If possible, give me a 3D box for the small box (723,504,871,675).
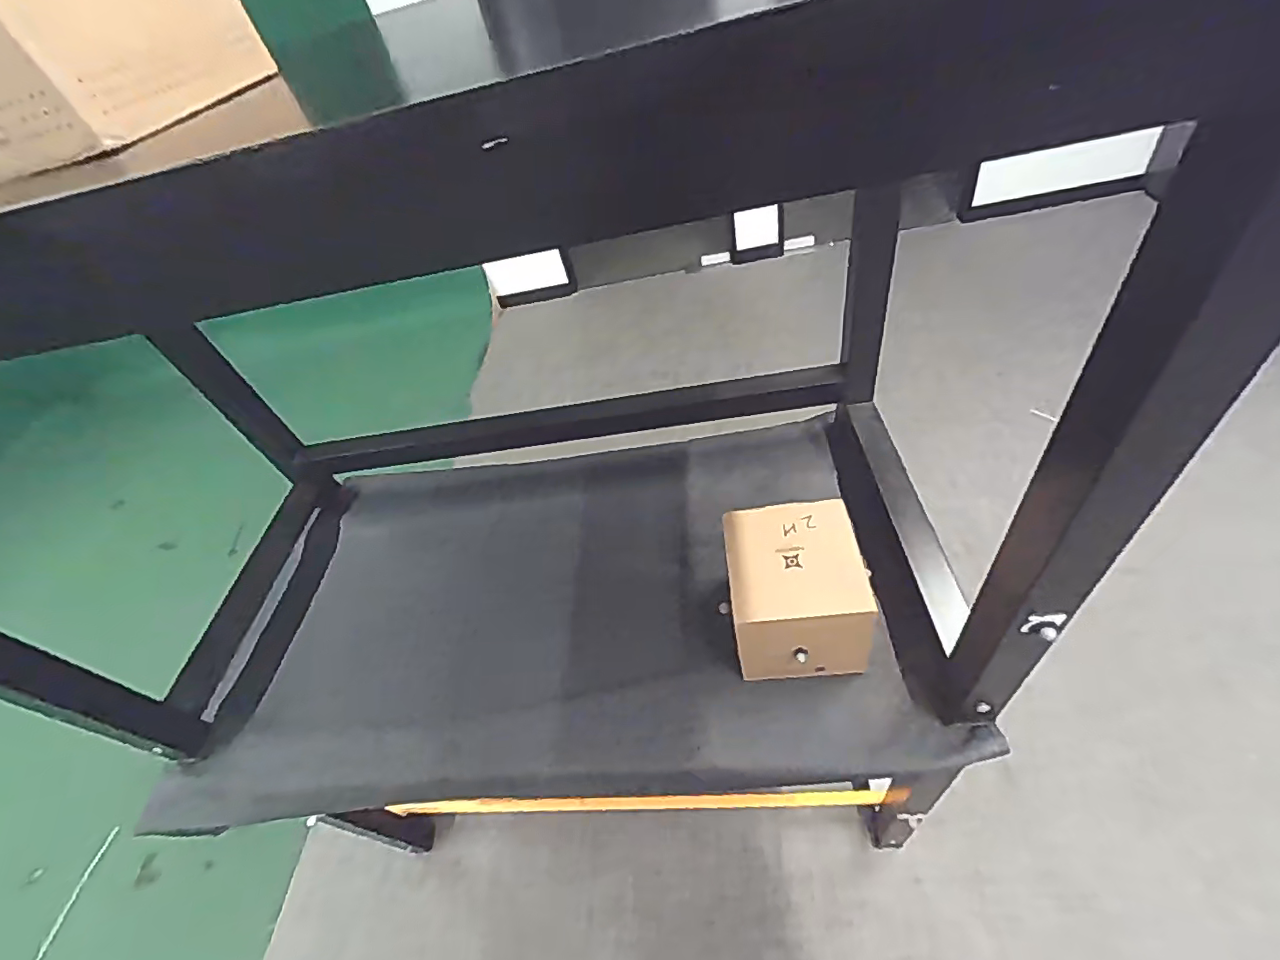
[{"bbox_3d":[0.209,0.159,0.750,0.168,0.176,0.179,-7,46,9],"label":"small box"}]
